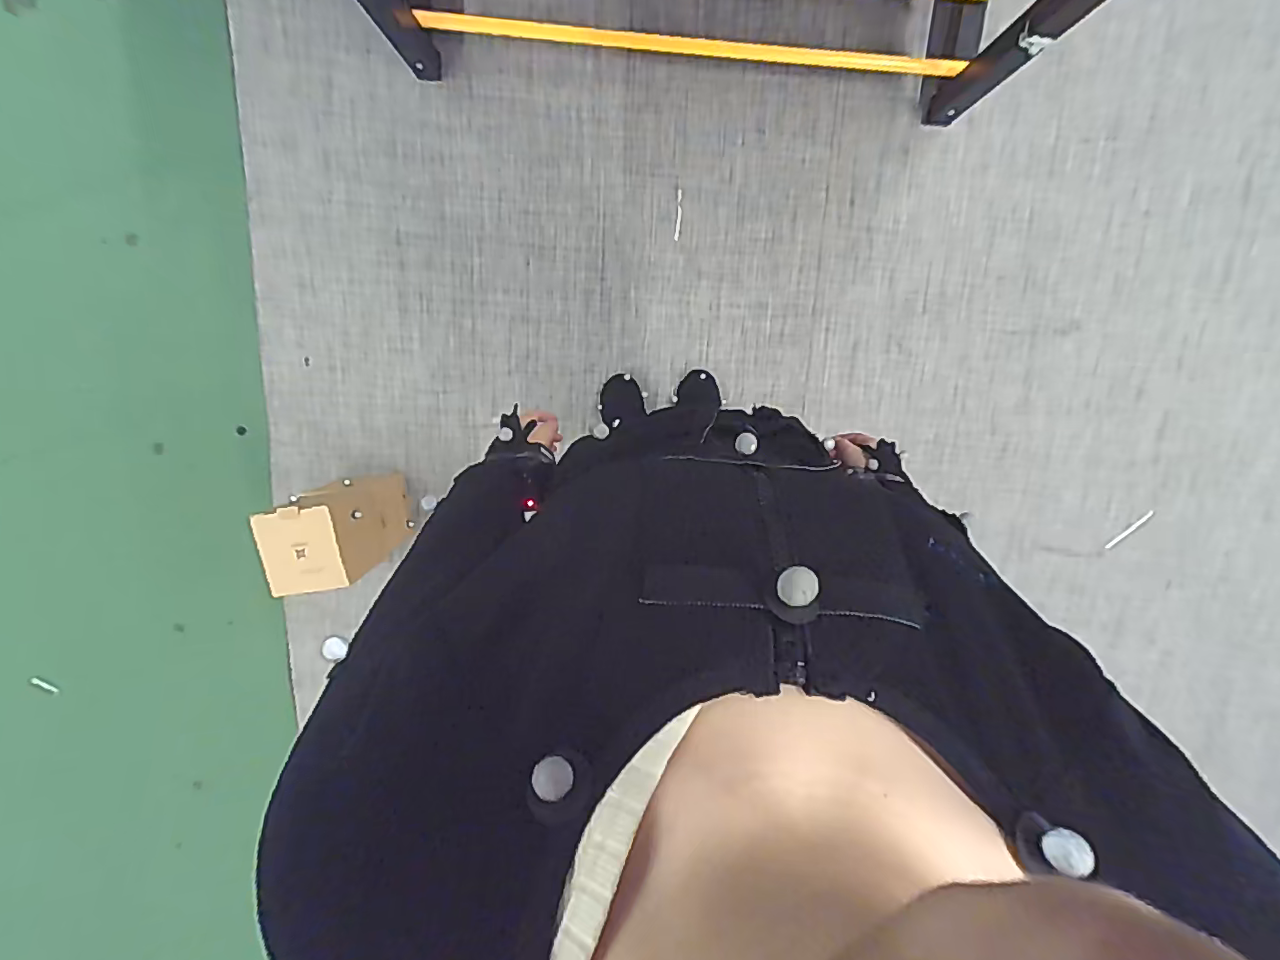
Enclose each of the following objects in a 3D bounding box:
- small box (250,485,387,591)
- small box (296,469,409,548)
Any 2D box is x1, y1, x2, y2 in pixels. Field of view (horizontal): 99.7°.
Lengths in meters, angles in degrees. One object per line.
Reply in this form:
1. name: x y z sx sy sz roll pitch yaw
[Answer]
1. small box: -0.673 0.114 1.152 0.168 0.176 0.179 -8 103 4
2. small box: -0.681 0.073 1.309 0.179 0.176 0.168 -6 102 2
